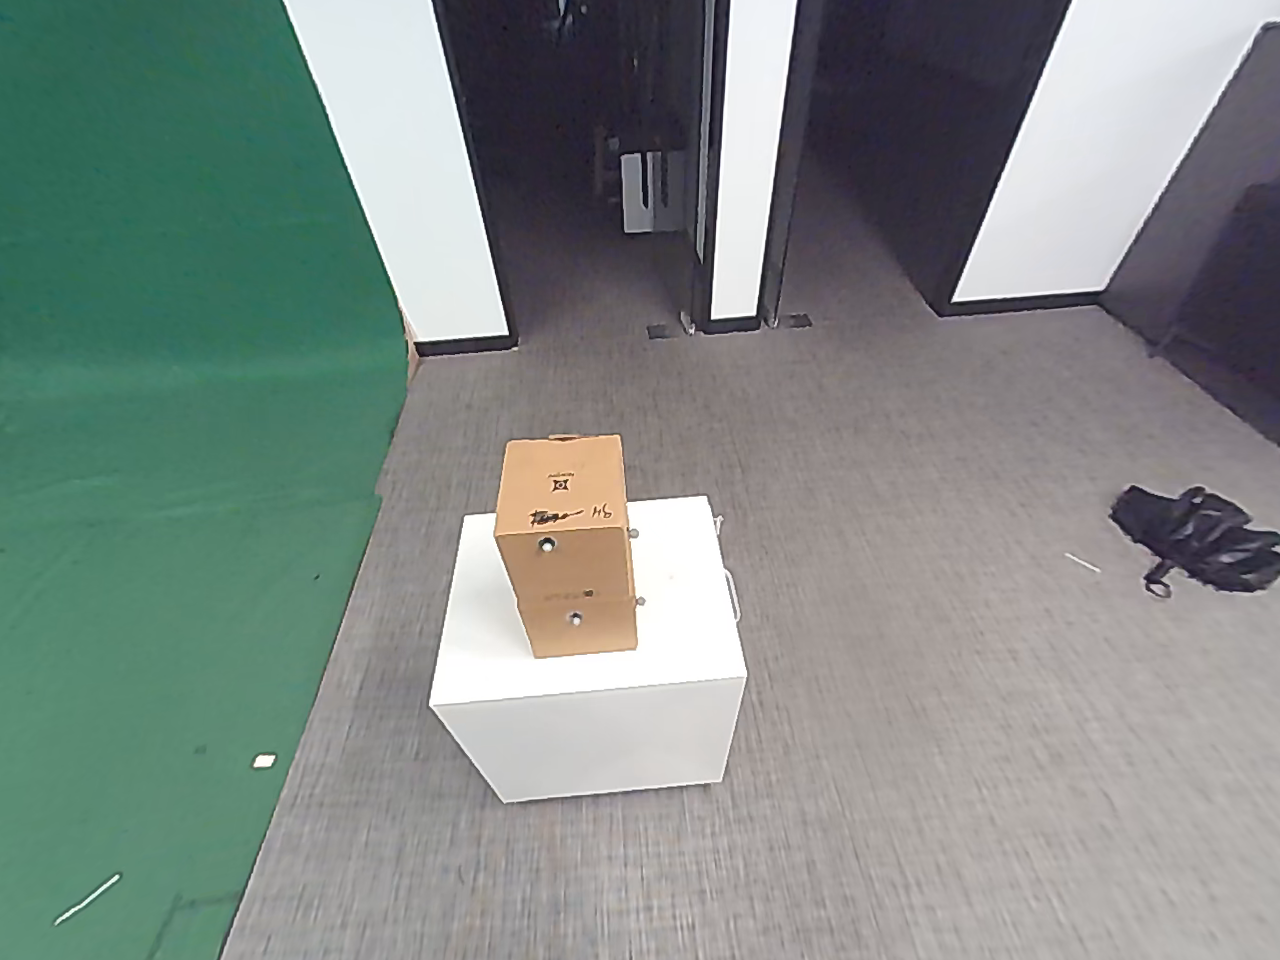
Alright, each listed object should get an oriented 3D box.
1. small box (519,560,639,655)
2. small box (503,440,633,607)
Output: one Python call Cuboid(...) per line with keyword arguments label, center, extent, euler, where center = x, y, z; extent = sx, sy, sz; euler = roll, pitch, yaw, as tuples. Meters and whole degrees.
Cuboid(label="small box", center=(-0.095, 0.179, 0.907), extent=(0.179, 0.176, 0.168), euler=(-4, 46, -3))
Cuboid(label="small box", center=(-0.099, 0.063, 0.795), extent=(0.168, 0.176, 0.179), euler=(-5, 46, -4))
